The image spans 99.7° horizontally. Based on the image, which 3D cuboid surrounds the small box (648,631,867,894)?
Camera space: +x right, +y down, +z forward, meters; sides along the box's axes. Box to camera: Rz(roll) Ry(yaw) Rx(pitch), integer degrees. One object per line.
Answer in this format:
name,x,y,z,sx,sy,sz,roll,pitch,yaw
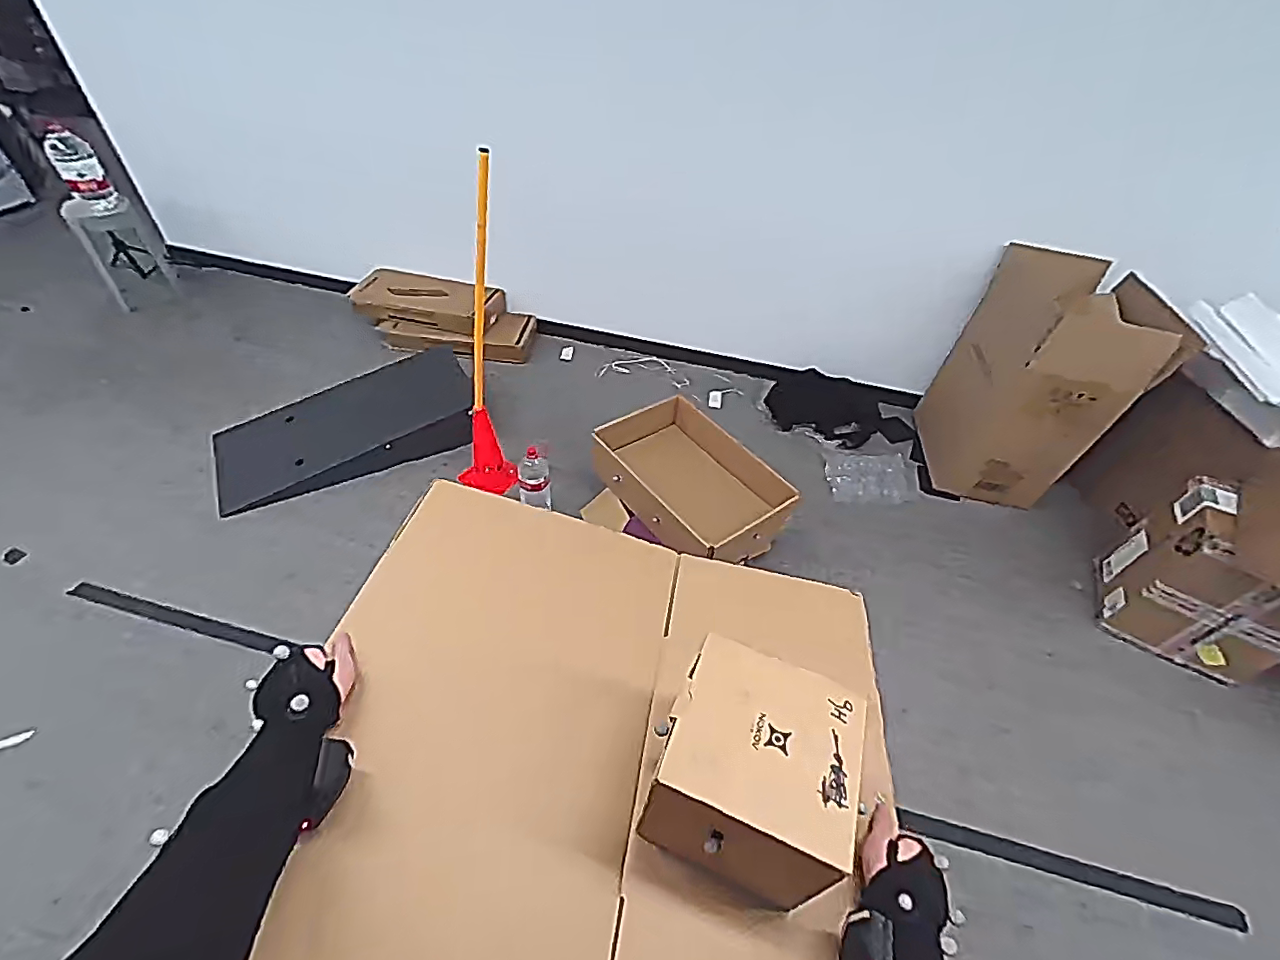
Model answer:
small box,0.118,0.300,0.575,0.179,0.176,0.168,19,44,13
